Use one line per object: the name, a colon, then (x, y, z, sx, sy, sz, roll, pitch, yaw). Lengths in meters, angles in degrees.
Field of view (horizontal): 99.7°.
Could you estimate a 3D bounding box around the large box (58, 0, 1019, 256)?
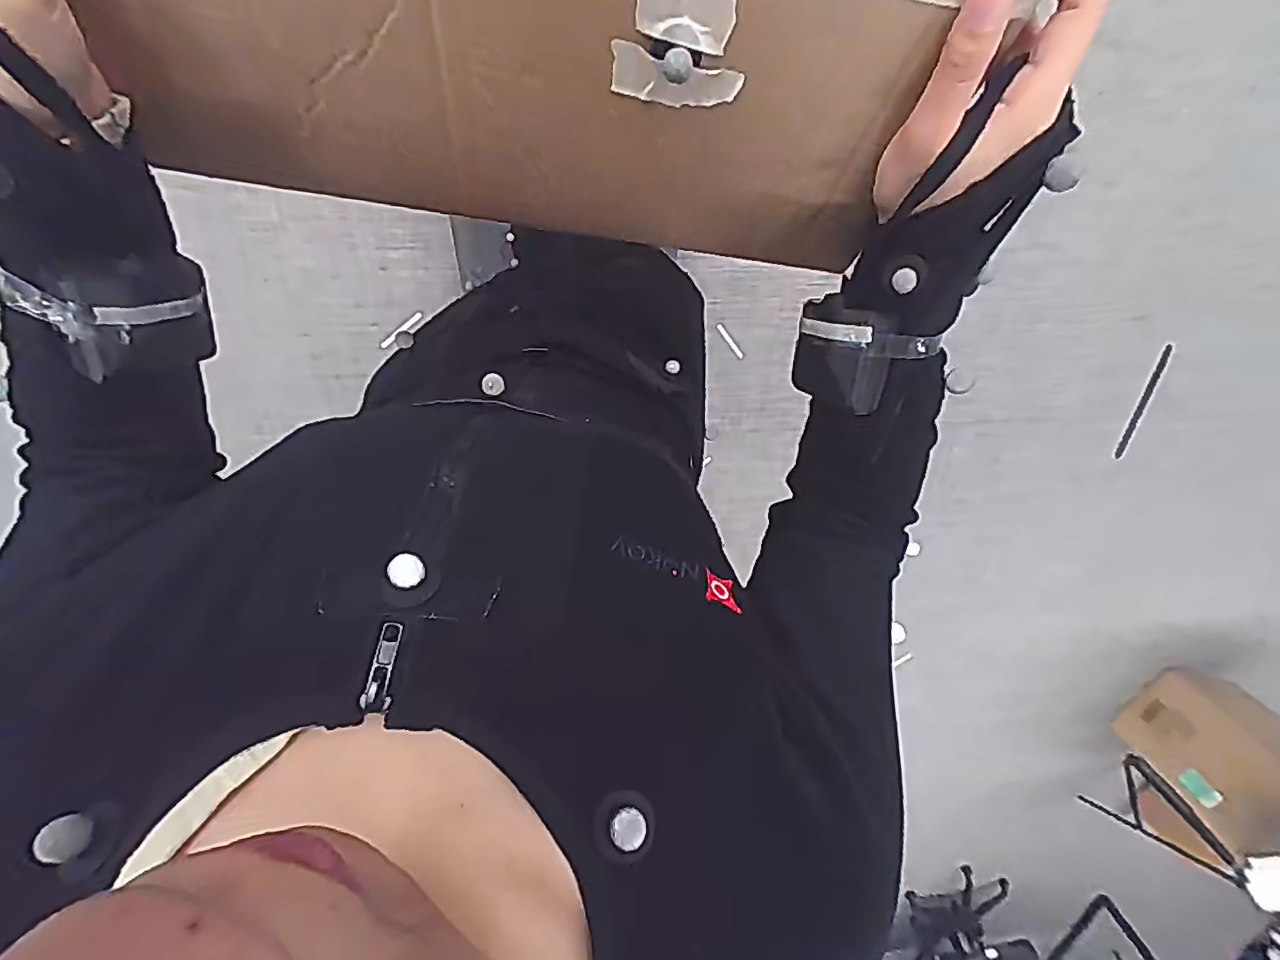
large box: (-0.037, -0.353, 0.247, 0.408, 0.320, 0.320, 4, 159, -9)
